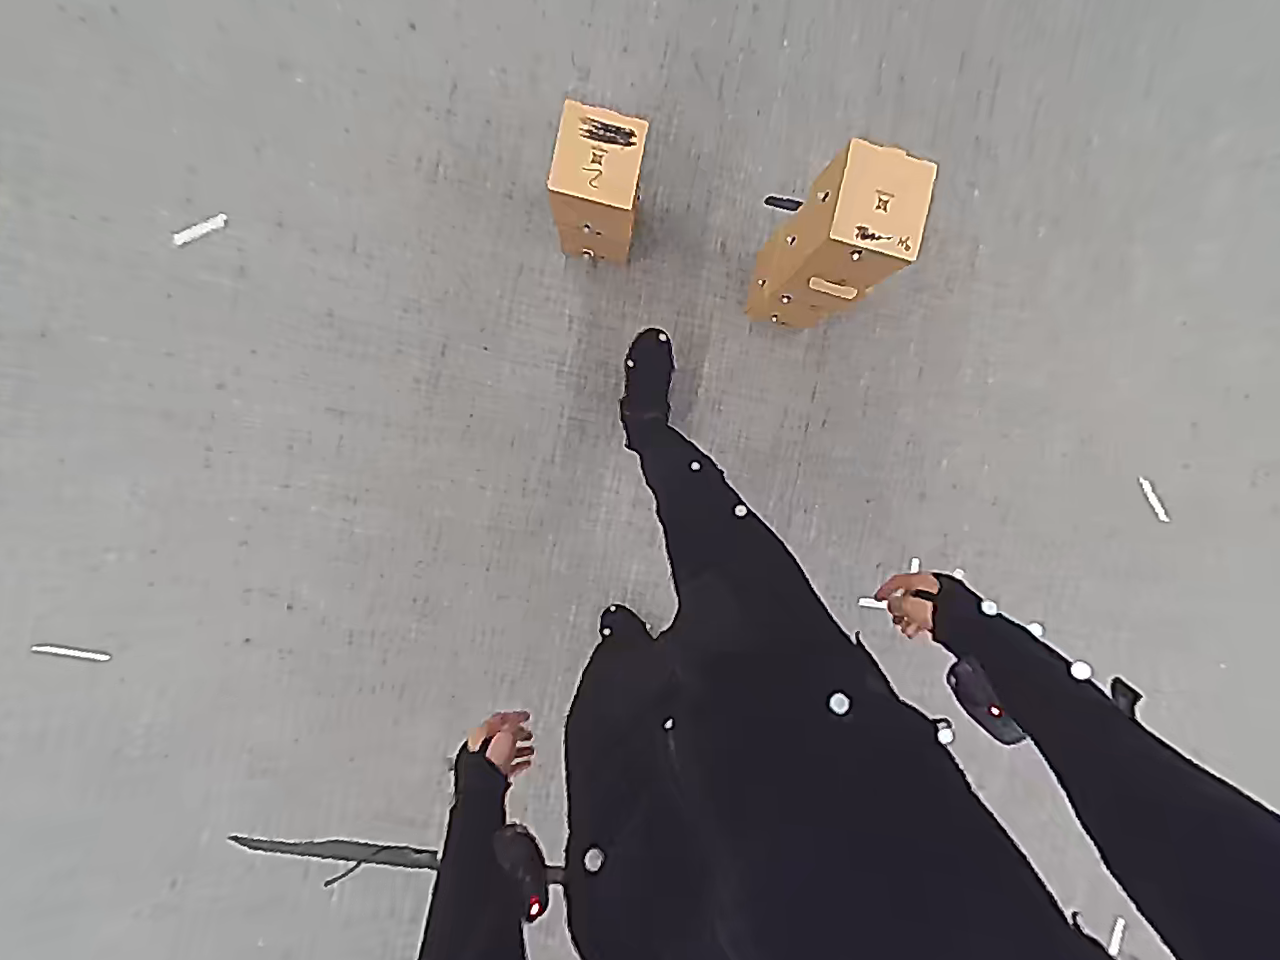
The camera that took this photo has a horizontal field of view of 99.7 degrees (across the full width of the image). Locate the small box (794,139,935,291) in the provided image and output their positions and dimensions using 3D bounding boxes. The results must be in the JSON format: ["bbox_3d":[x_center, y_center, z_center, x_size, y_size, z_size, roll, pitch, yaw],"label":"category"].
[{"bbox_3d":[0.406,-0.480,1.007,0.168,0.176,0.179,13,90,-7],"label":"small box"}]

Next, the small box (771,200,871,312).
[{"bbox_3d":[0.400,-0.483,1.172,0.168,0.176,0.179,13,91,-8],"label":"small box"}]

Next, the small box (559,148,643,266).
[{"bbox_3d":[-0.095,-0.633,1.274,0.168,0.176,0.179,9,91,-6],"label":"small box"}]

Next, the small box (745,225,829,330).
[{"bbox_3d":[0.374,-0.490,1.334,0.168,0.176,0.179,13,91,-7],"label":"small box"}]
